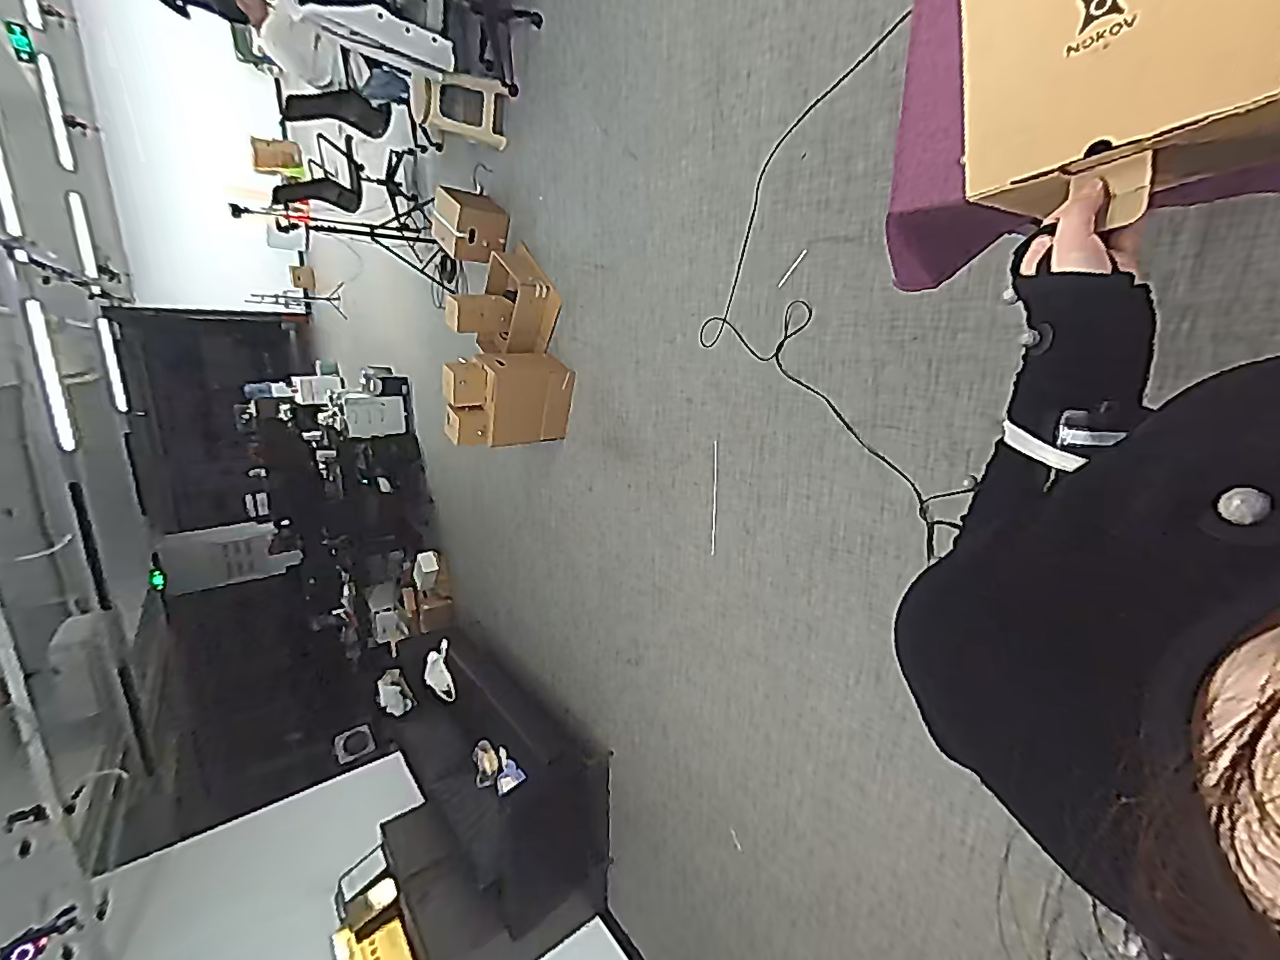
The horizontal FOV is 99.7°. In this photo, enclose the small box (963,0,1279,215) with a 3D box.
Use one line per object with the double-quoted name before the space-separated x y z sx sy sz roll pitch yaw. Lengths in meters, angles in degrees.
"small box" 0.370 -0.324 0.412 0.168 0.176 0.179 6 106 53
